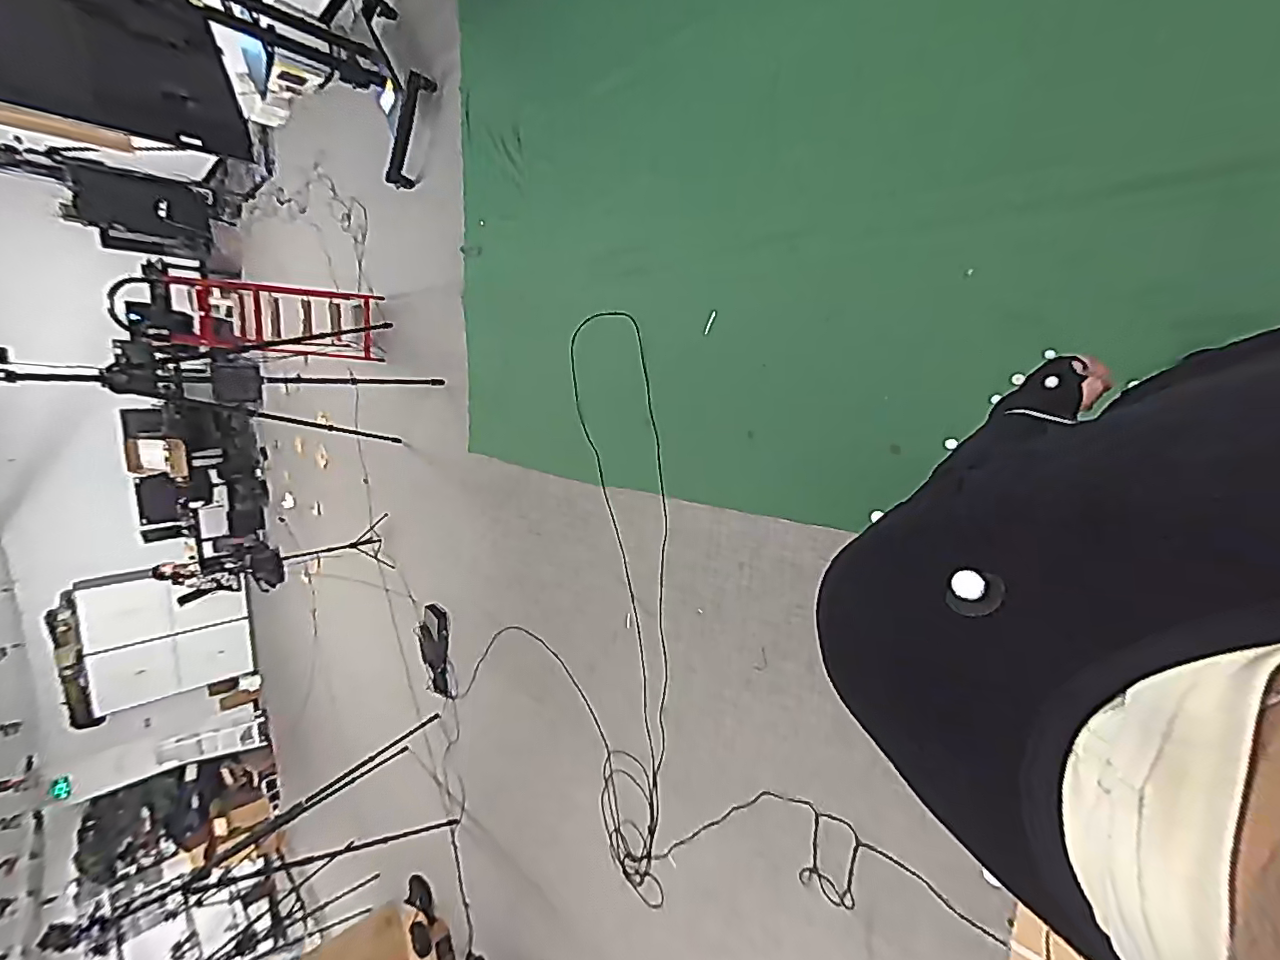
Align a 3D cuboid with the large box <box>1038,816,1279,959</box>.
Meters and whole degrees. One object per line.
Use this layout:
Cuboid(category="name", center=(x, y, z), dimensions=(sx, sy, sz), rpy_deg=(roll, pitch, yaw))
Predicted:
Cuboid(category="large box", center=(1.145, 1.047, 1.190), dimensions=(0.408, 0.320, 0.320), rpy_deg=(7, 101, 43))
